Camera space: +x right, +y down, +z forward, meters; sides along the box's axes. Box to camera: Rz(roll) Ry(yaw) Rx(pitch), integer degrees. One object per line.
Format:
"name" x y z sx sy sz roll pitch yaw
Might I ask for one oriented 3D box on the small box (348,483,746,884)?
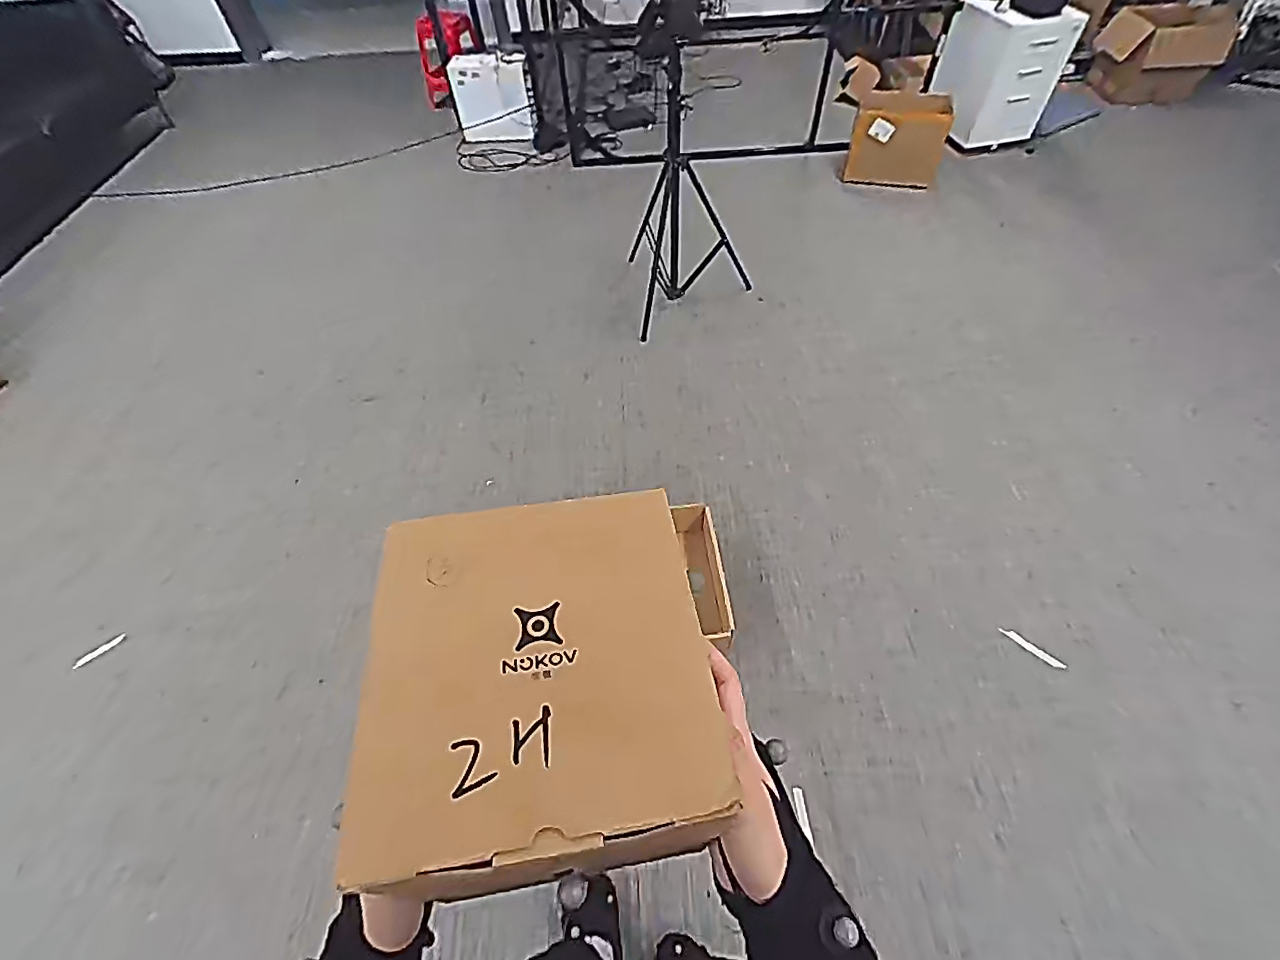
"small box" -0.050 0.126 0.334 0.168 0.176 0.179 -7 52 -7
